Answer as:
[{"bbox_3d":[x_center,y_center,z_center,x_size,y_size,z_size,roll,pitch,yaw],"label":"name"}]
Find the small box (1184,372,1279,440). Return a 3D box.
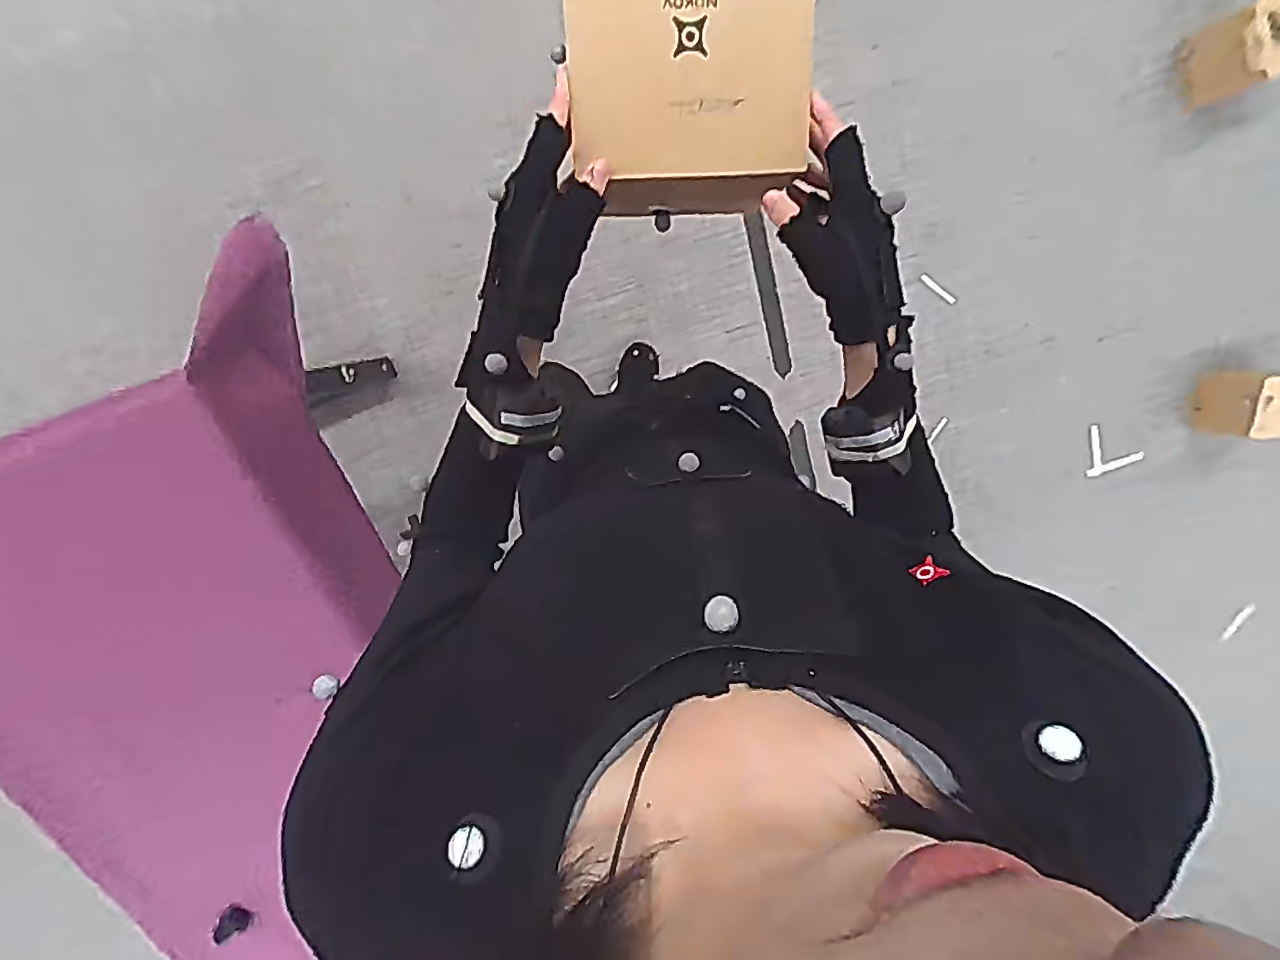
[{"bbox_3d":[1.700,-0.211,1.509,0.179,0.176,0.168,-3,106,-3],"label":"small box"}]

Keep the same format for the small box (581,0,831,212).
[{"bbox_3d":[0.040,-0.324,0.427,0.168,0.176,0.179,-2,108,-1],"label":"small box"}]

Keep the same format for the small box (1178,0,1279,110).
[{"bbox_3d":[1.421,-1.014,1.266,0.179,0.176,0.168,-29,105,3],"label":"small box"}]
